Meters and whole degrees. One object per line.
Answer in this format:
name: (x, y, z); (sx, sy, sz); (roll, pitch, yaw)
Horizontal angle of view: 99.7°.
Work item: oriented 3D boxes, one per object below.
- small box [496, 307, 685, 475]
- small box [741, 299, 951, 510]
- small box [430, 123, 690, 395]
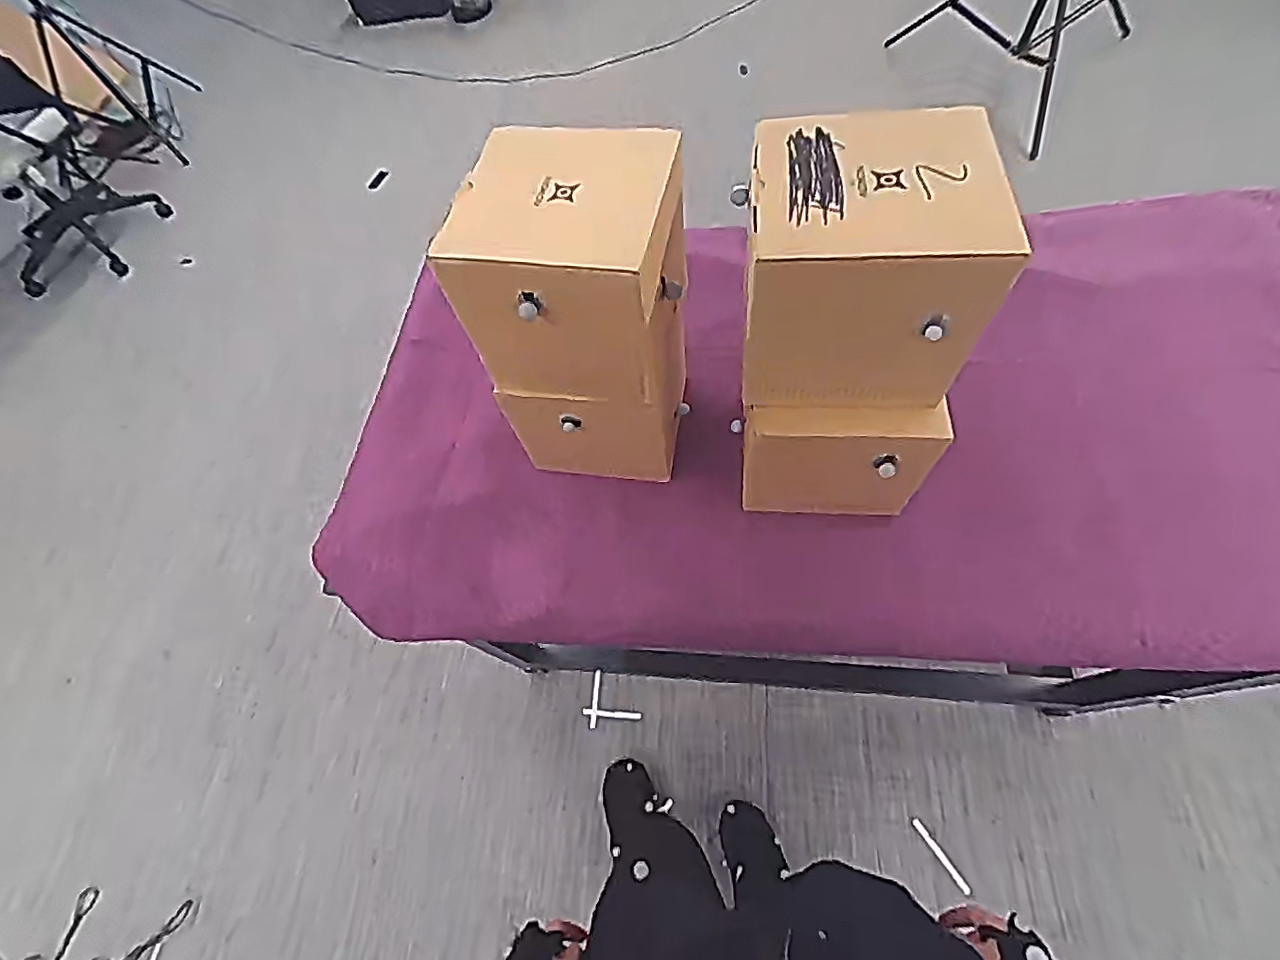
small box: (-0.044, -0.118, 0.648); (0.179, 0.176, 0.168); (6, 63, 9)
small box: (0.205, -0.075, 0.591); (0.179, 0.176, 0.168); (2, 62, 9)
small box: (-0.053, -0.197, 0.506); (0.179, 0.176, 0.168); (9, 64, 12)
